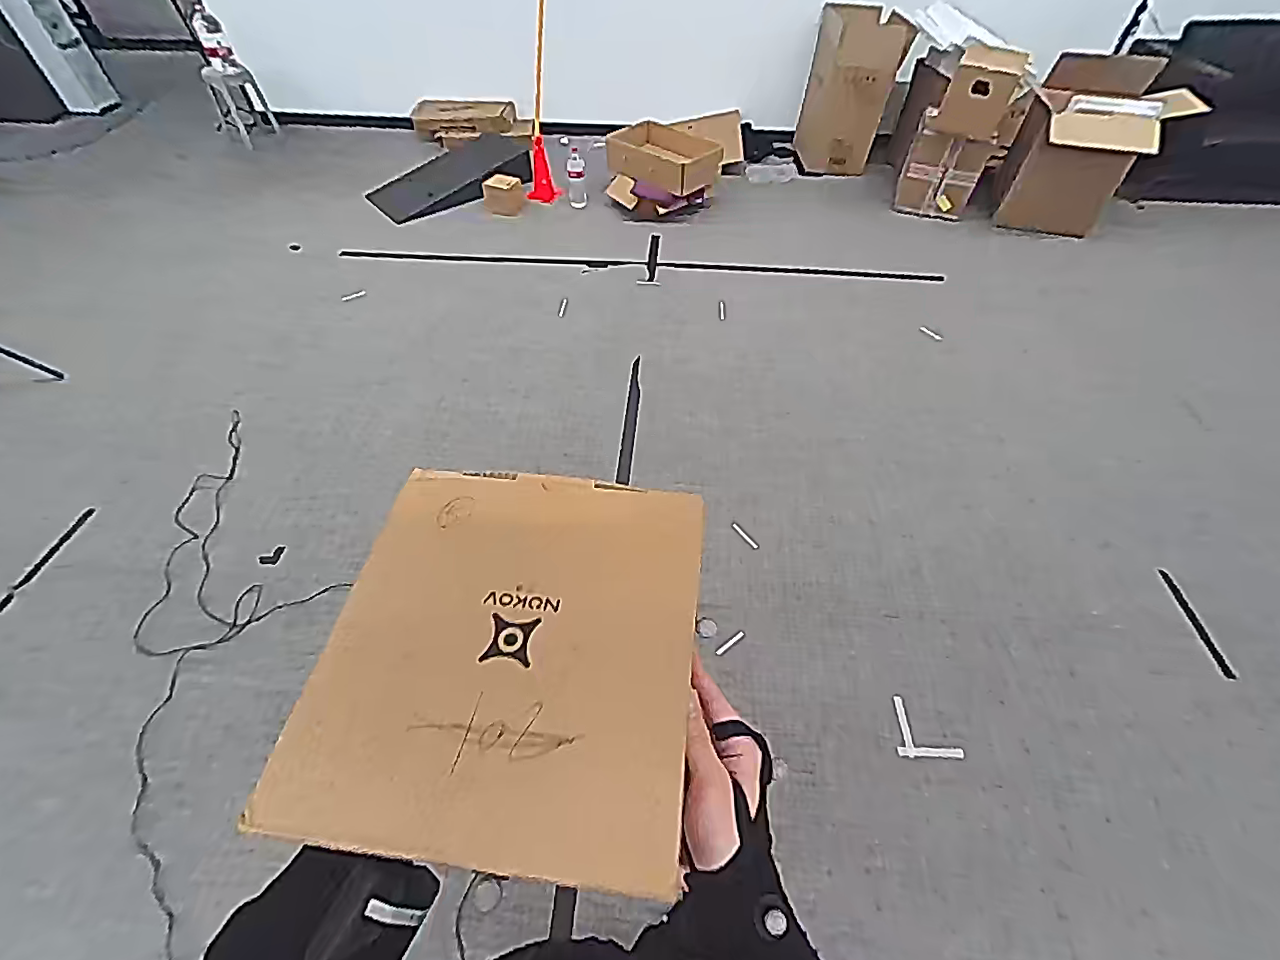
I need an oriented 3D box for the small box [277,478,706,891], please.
[{"bbox_3d":[-0.054,0.123,0.319,0.168,0.176,0.179,5,52,4],"label":"small box"}]
